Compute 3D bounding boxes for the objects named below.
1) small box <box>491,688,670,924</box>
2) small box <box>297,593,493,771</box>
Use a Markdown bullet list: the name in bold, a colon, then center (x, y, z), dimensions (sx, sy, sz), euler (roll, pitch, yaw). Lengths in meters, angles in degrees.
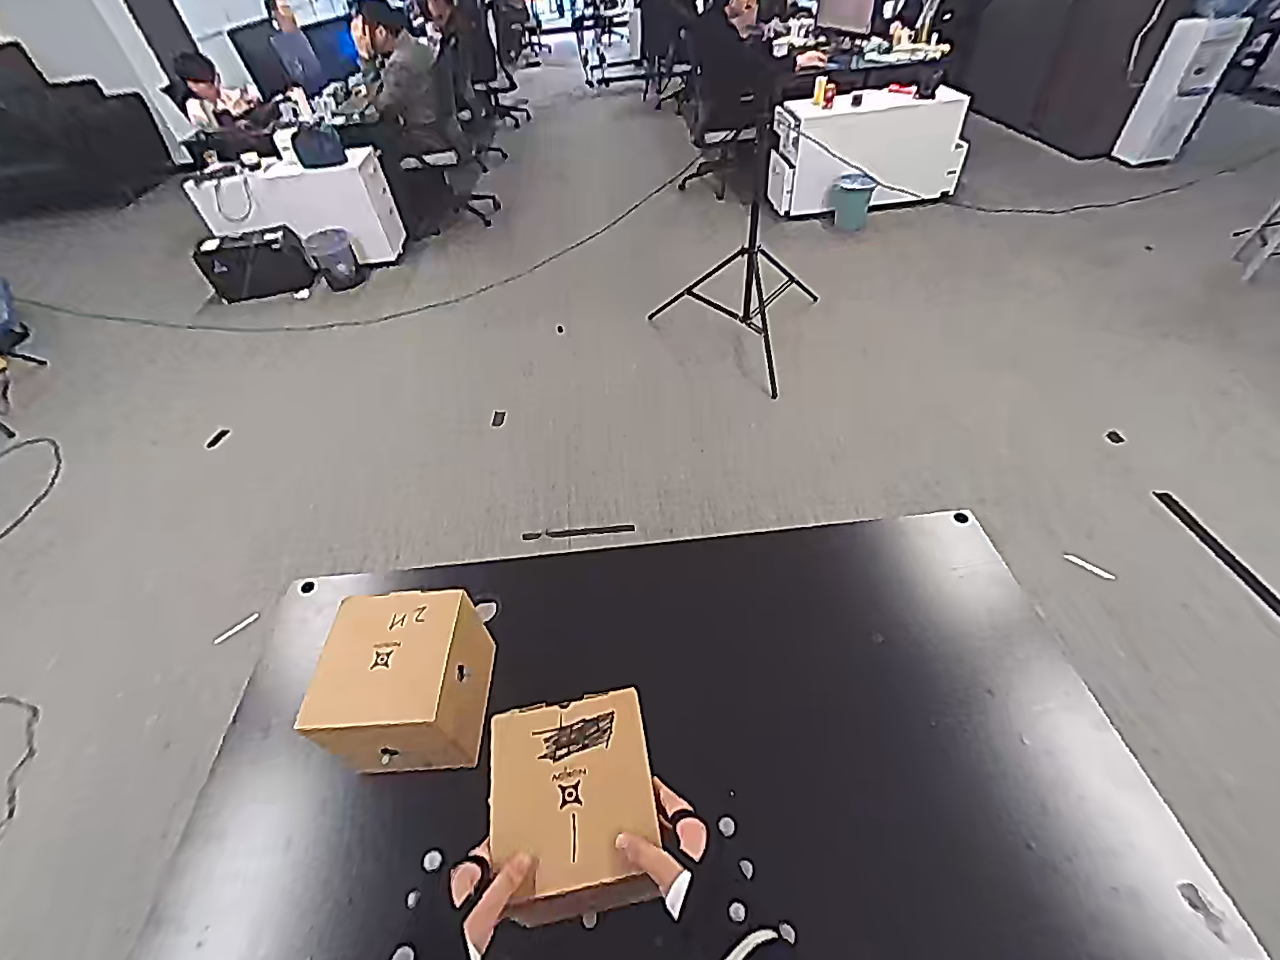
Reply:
- **small box**: center (-0.064, 0.366, 0.609), dimensions (0.168, 0.176, 0.179), euler (-11, 46, -4)
- **small box**: center (-0.307, 0.276, 0.728), dimensions (0.168, 0.176, 0.179), euler (-5, 45, 1)
